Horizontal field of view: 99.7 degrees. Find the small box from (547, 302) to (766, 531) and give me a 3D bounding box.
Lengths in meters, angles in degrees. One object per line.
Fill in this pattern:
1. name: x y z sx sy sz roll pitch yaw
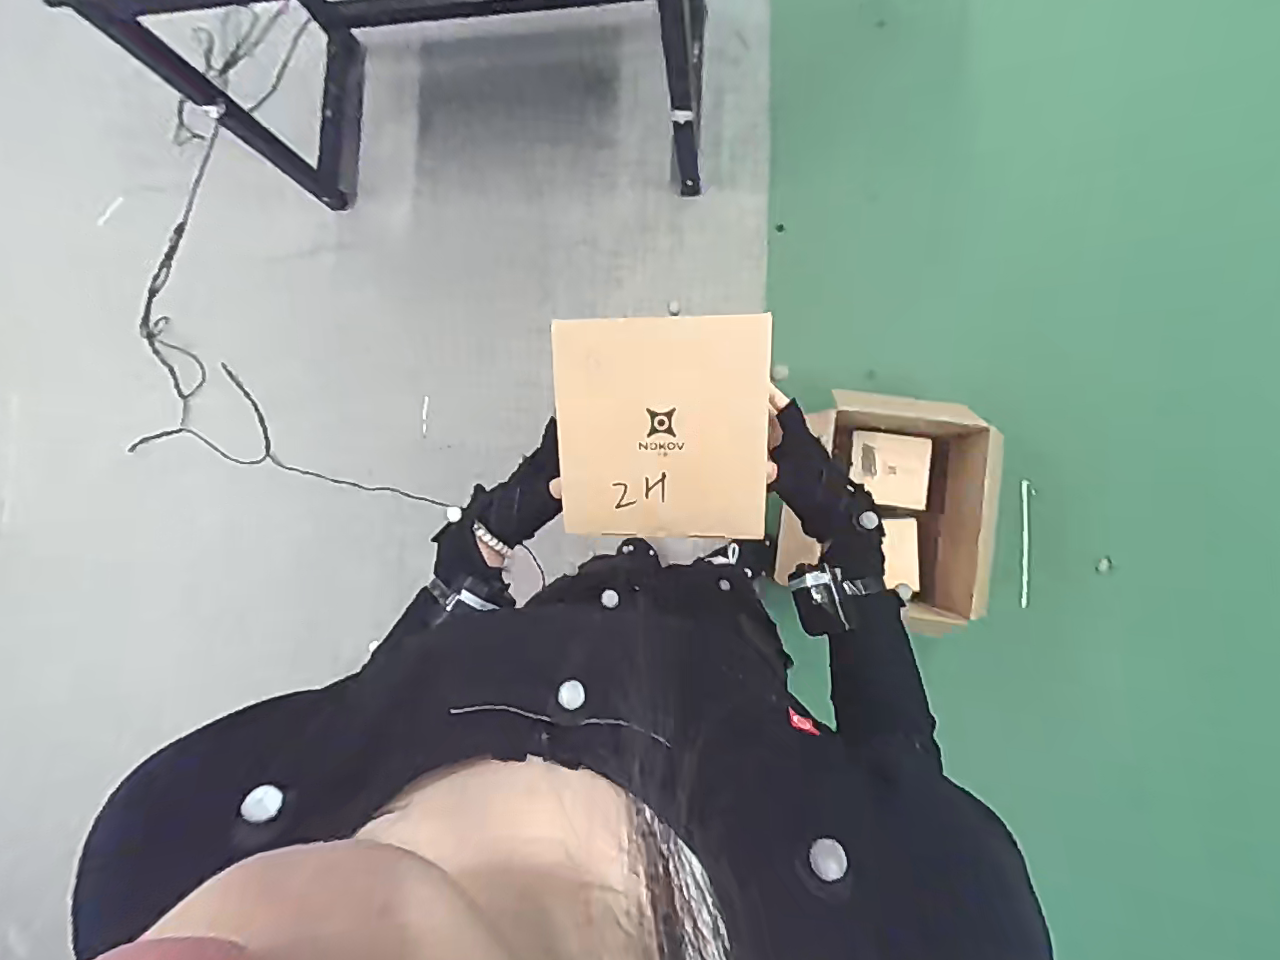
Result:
1. small box: 0.021 -0.064 0.495 0.168 0.176 0.179 1 105 8
